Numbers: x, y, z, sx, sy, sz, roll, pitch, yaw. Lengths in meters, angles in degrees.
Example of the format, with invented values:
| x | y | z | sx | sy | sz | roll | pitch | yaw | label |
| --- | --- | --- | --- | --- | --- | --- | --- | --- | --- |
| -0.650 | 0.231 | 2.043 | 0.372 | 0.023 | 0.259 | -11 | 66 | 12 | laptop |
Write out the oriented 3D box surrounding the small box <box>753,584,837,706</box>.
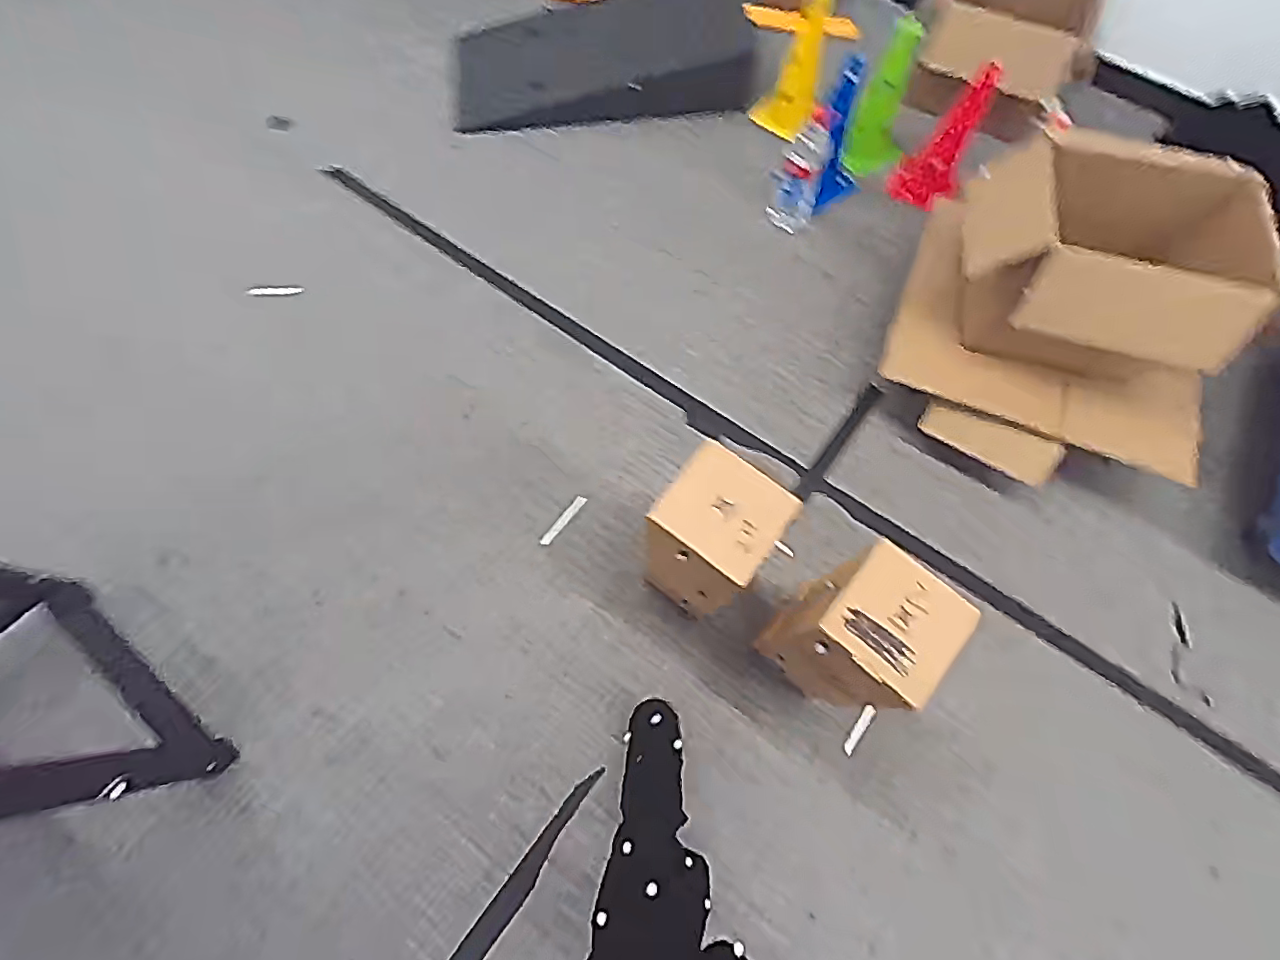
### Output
| x | y | z | sx | sy | sz | roll | pitch | yaw | label |
| --- | --- | --- | --- | --- | --- | --- | --- | --- | --- |
| 0.367 | 0.345 | 1.138 | 0.179 | 0.176 | 0.168 | 42 | 74 | 12 | small box |

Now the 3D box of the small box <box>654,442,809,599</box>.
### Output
| x | y | z | sx | sy | sz | roll | pitch | yaw | label |
| --- | --- | --- | --- | --- | --- | --- | --- | --- | --- |
| 0.136 | 0.076 | 0.884 | 0.179 | 0.176 | 0.168 | 38 | 73 | 11 | small box |

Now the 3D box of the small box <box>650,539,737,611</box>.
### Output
| x | y | z | sx | sy | sz | roll | pitch | yaw | label |
| --- | --- | --- | --- | --- | --- | --- | --- | --- | --- |
| 0.132 | 0.134 | 1.039 | 0.179 | 0.176 | 0.168 | 37 | 73 | 10 | small box |

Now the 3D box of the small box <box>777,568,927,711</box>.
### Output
| x | y | z | sx | sy | sz | roll | pitch | yaw | label |
| --- | --- | --- | --- | --- | --- | --- | --- | --- | --- |
| 0.369 | 0.293 | 0.981 | 0.168 | 0.176 | 0.179 | 40 | 73 | 13 | small box |

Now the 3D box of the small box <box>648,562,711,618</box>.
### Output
| x | y | z | sx | sy | sz | roll | pitch | yaw | label |
| --- | --- | --- | --- | --- | --- | --- | --- | --- | --- |
| 0.131 | 0.184 | 1.194 | 0.168 | 0.176 | 0.179 | 36 | 71 | 10 | small box |
